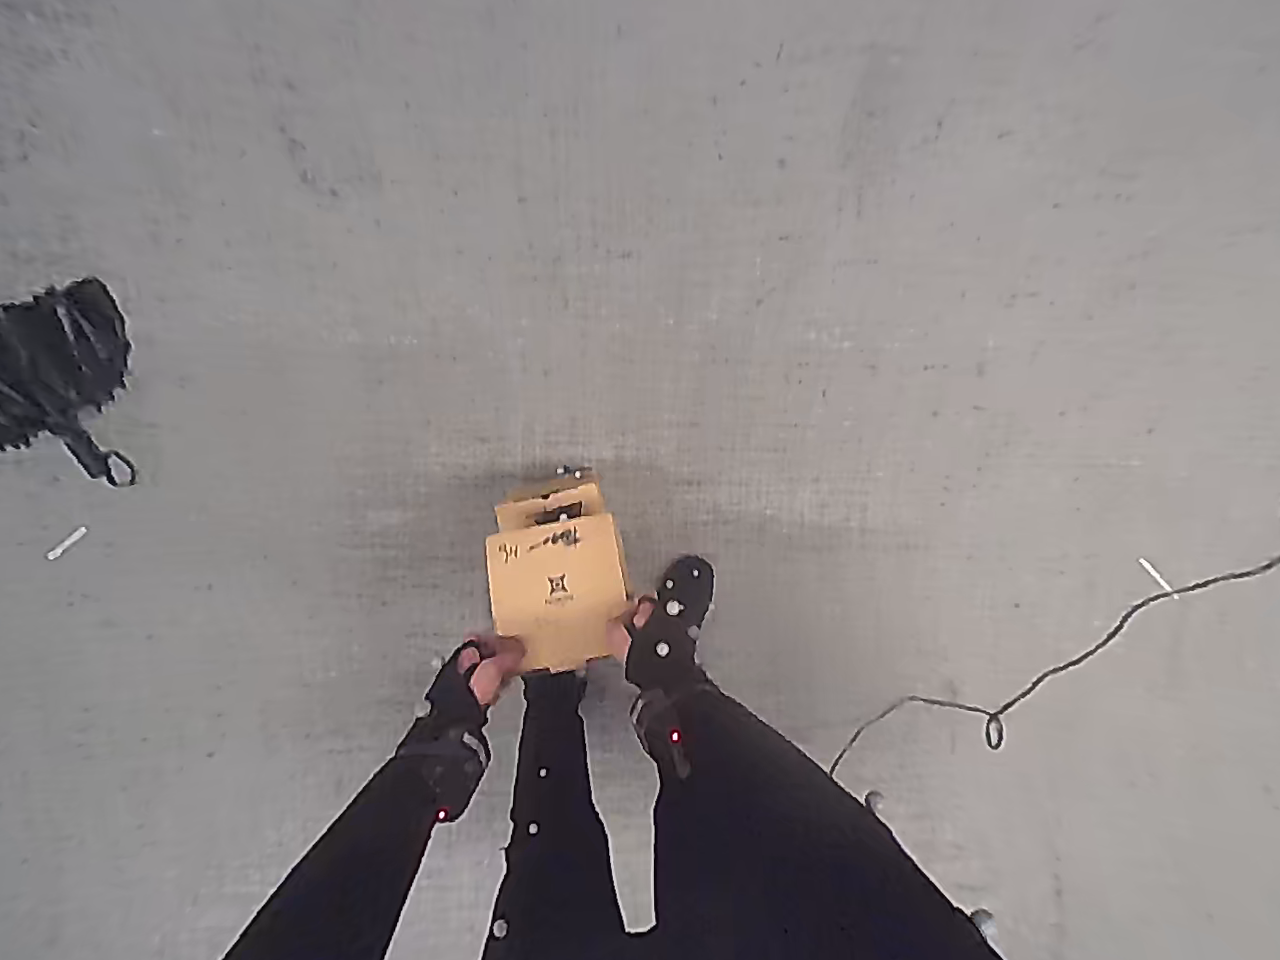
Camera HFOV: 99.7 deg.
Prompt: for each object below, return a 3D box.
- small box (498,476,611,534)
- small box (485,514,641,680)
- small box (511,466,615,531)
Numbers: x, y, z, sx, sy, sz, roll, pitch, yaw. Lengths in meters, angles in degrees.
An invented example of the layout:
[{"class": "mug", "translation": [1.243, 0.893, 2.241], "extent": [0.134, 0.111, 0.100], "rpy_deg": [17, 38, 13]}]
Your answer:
[{"class": "small box", "translation": [-0.132, 0.094, 0.935], "extent": [0.168, 0.176, 0.179], "rpy_deg": [-13, 97, -1]}, {"class": "small box", "translation": [-0.096, 0.160, 0.734], "extent": [0.168, 0.176, 0.179], "rpy_deg": [-11, 73, 0]}, {"class": "small box", "translation": [-0.146, 0.077, 1.098], "extent": [0.168, 0.176, 0.179], "rpy_deg": [-14, 95, -2]}]
